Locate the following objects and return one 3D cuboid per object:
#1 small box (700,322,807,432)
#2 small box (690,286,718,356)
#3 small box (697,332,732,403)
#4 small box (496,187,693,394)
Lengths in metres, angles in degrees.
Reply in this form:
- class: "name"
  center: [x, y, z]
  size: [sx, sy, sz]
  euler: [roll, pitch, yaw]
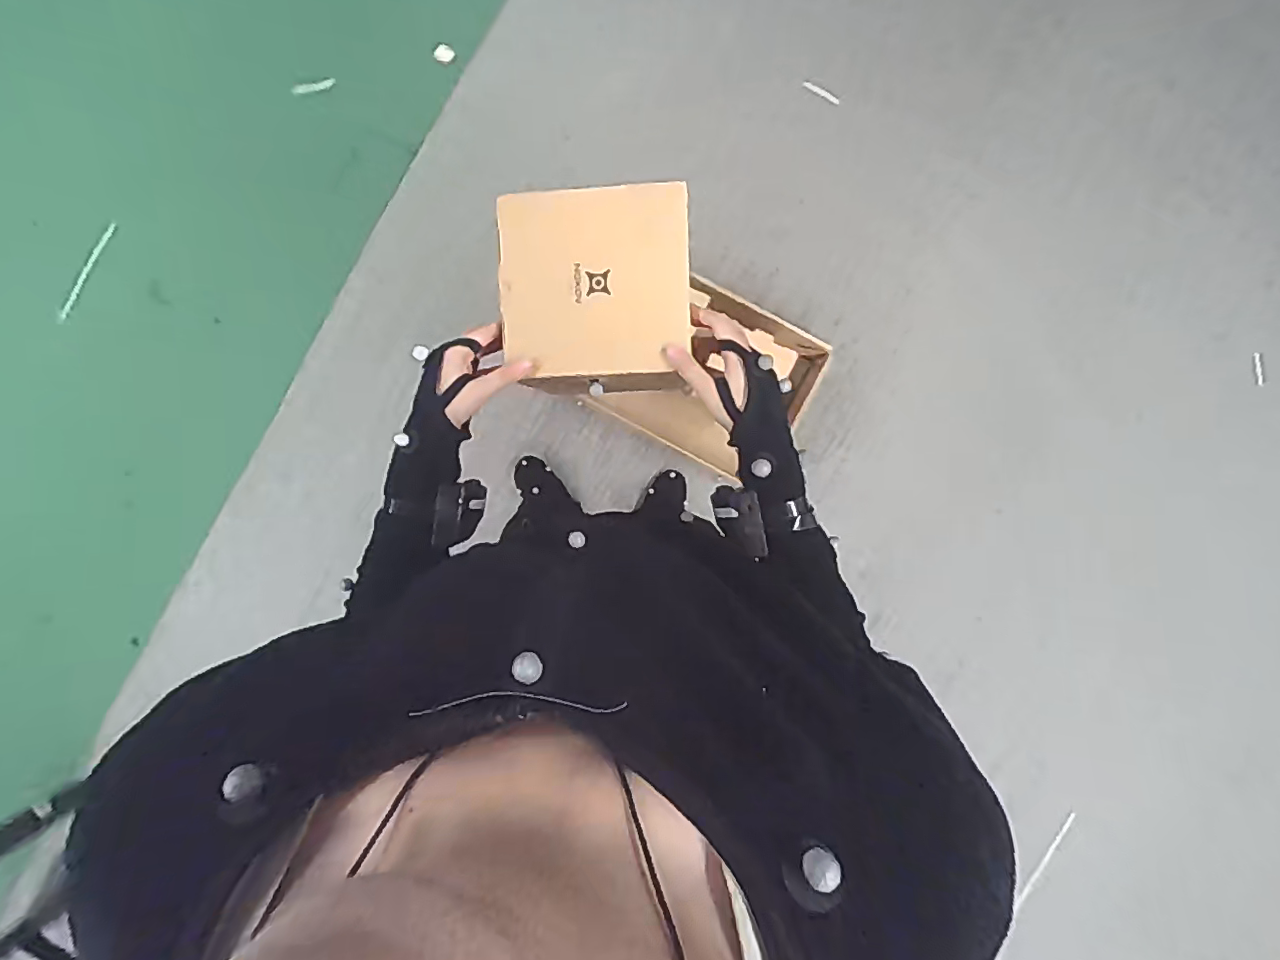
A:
- class: "small box"
  center: [0.242, -0.221, 1.206]
  size: [0.168, 0.176, 0.179]
  euler: [27, 93, 2]
- class: "small box"
  center: [0.057, -0.338, 1.211]
  size: [0.168, 0.176, 0.179]
  euler: [24, 94, -2]
- class: "small box"
  center: [0.254, -0.251, 1.369]
  size: [0.179, 0.176, 0.168]
  euler: [22, 94, 2]
- class: "small box"
  center: [-0.034, -0.182, 0.571]
  size: [0.179, 0.176, 0.168]
  euler: [-2, 94, 7]
